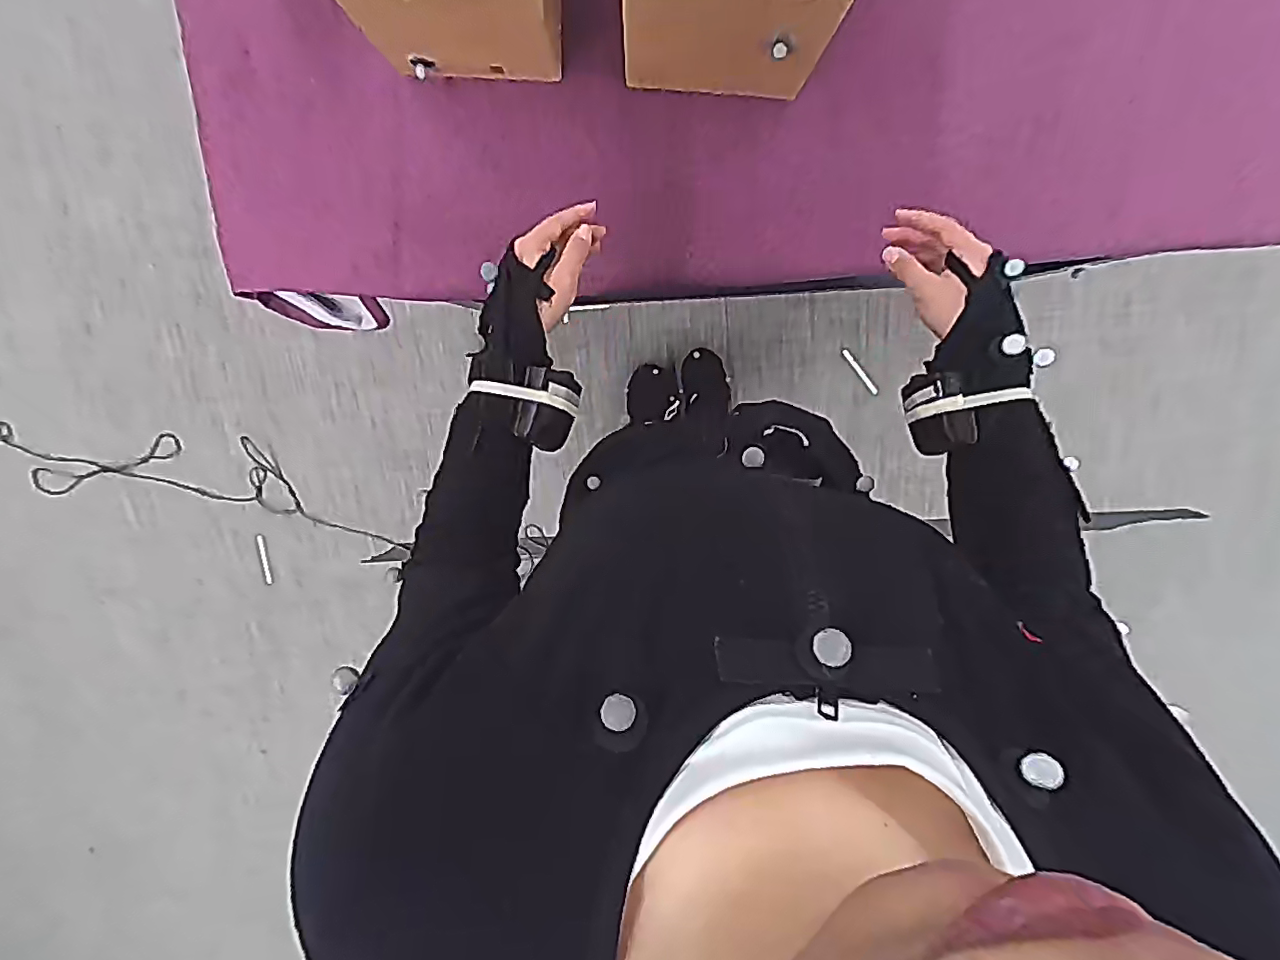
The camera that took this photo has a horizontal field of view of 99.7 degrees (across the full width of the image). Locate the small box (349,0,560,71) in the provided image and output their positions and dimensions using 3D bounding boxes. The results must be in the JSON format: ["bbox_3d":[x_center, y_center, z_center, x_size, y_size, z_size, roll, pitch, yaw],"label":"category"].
[{"bbox_3d":[-0.160,-0.480,0.452,0.168,0.176,0.179,2,103,-1],"label":"small box"}]
